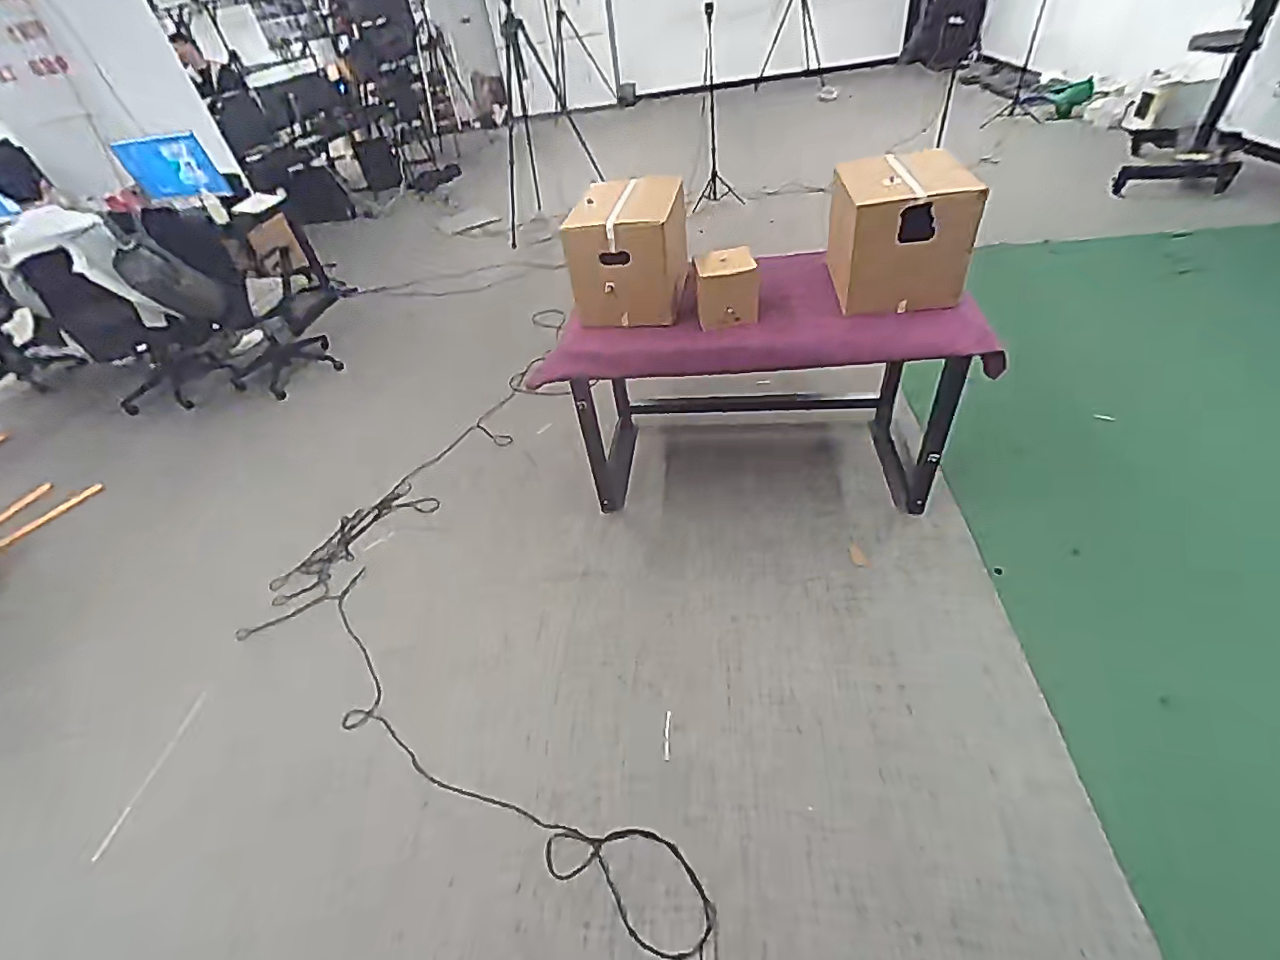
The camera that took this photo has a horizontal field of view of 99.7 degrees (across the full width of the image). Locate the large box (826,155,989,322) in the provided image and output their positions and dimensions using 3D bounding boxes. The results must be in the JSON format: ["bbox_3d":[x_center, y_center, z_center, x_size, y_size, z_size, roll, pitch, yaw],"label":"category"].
[{"bbox_3d":[0.747,-0.713,1.590,0.320,0.320,0.408,-3,44,11],"label":"large box"}]
